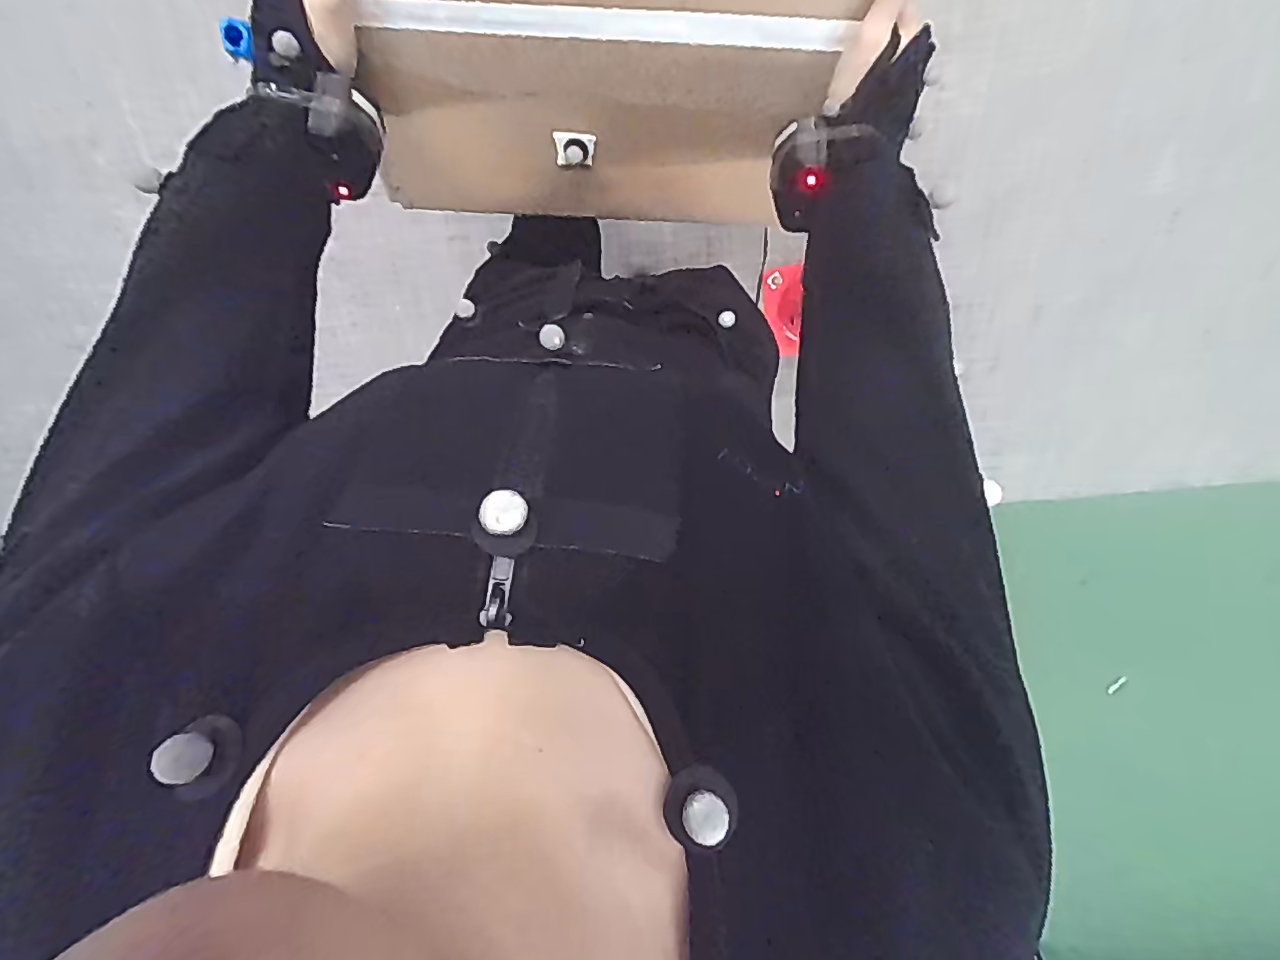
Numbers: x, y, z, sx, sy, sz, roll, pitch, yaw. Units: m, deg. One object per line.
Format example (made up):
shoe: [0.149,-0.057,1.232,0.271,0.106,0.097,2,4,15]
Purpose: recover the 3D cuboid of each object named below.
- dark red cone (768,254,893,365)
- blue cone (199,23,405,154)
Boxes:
dark red cone: [0.378,-0.291,1.022,0.202,0.394,0.201,-11,117,7]
blue cone: [-0.574,-0.692,0.915,0.192,0.380,0.193,-4,114,4]
